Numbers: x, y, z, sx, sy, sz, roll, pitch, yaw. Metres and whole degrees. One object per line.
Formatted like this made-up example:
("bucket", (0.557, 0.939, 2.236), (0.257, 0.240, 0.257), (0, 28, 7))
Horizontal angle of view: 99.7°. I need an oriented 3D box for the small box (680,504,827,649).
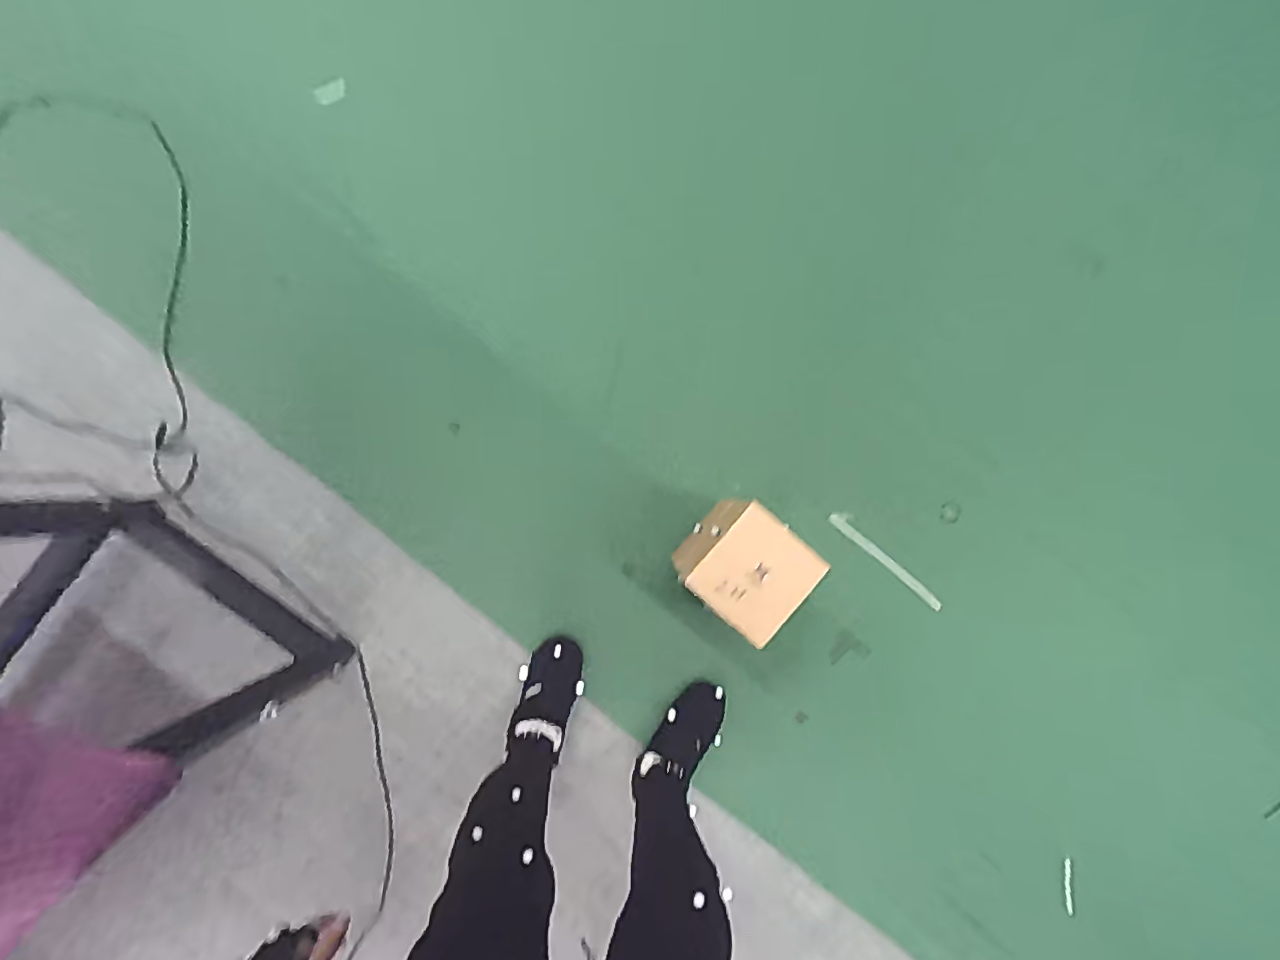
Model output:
("small box", (0.184, 0.156, 0.946), (0.168, 0.176, 0.179), (42, 88, 1))
